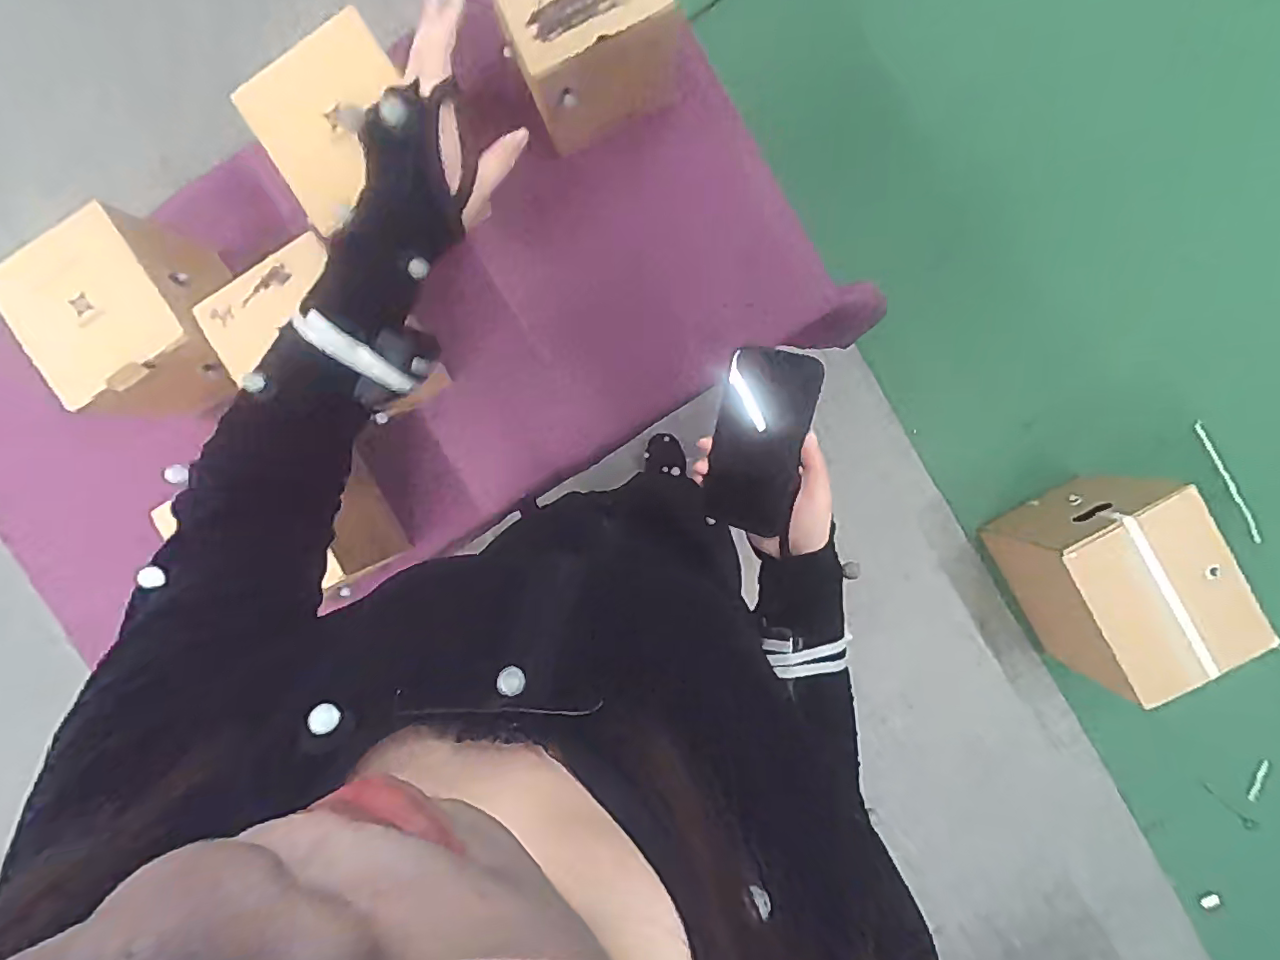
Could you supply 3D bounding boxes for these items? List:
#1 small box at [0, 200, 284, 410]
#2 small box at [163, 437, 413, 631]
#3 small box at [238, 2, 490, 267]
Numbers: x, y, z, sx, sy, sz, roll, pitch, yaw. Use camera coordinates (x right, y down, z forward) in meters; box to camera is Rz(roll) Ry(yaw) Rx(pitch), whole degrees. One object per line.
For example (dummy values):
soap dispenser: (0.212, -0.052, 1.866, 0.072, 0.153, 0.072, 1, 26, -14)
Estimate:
small box: (-0.605, -0.202, 0.682, 0.168, 0.176, 0.179, -31, 93, 4)
small box: (-0.434, 0.059, 0.697, 0.168, 0.176, 0.179, -28, 93, 5)
small box: (-0.313, -0.393, 0.652, 0.168, 0.176, 0.179, -33, 94, 5)
